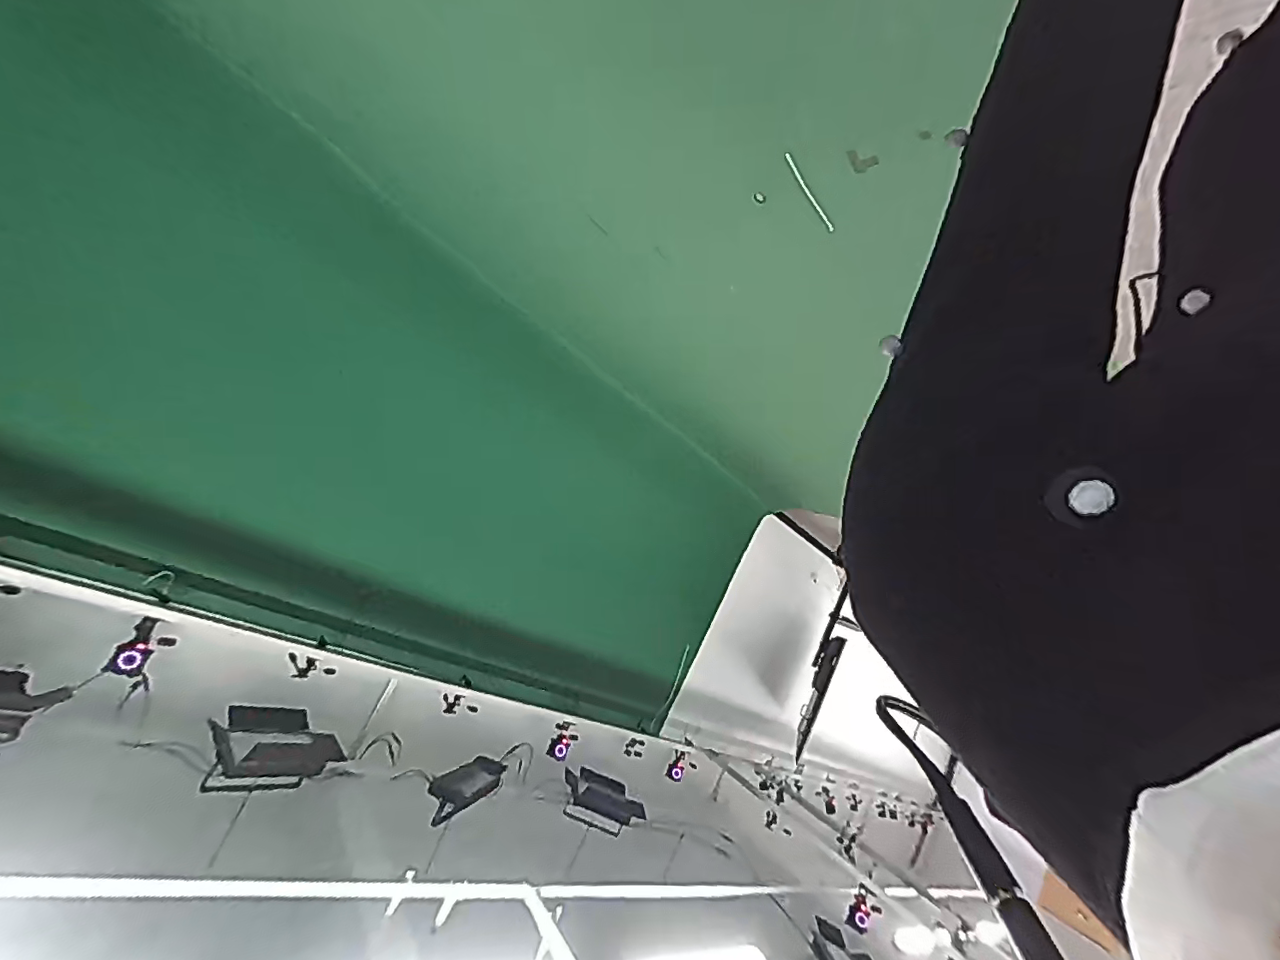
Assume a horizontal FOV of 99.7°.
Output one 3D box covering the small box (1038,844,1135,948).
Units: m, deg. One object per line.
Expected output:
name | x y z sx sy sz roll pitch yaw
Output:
small box | 1.305 1.202 1.574 0.168 0.176 0.179 32 170 -36
